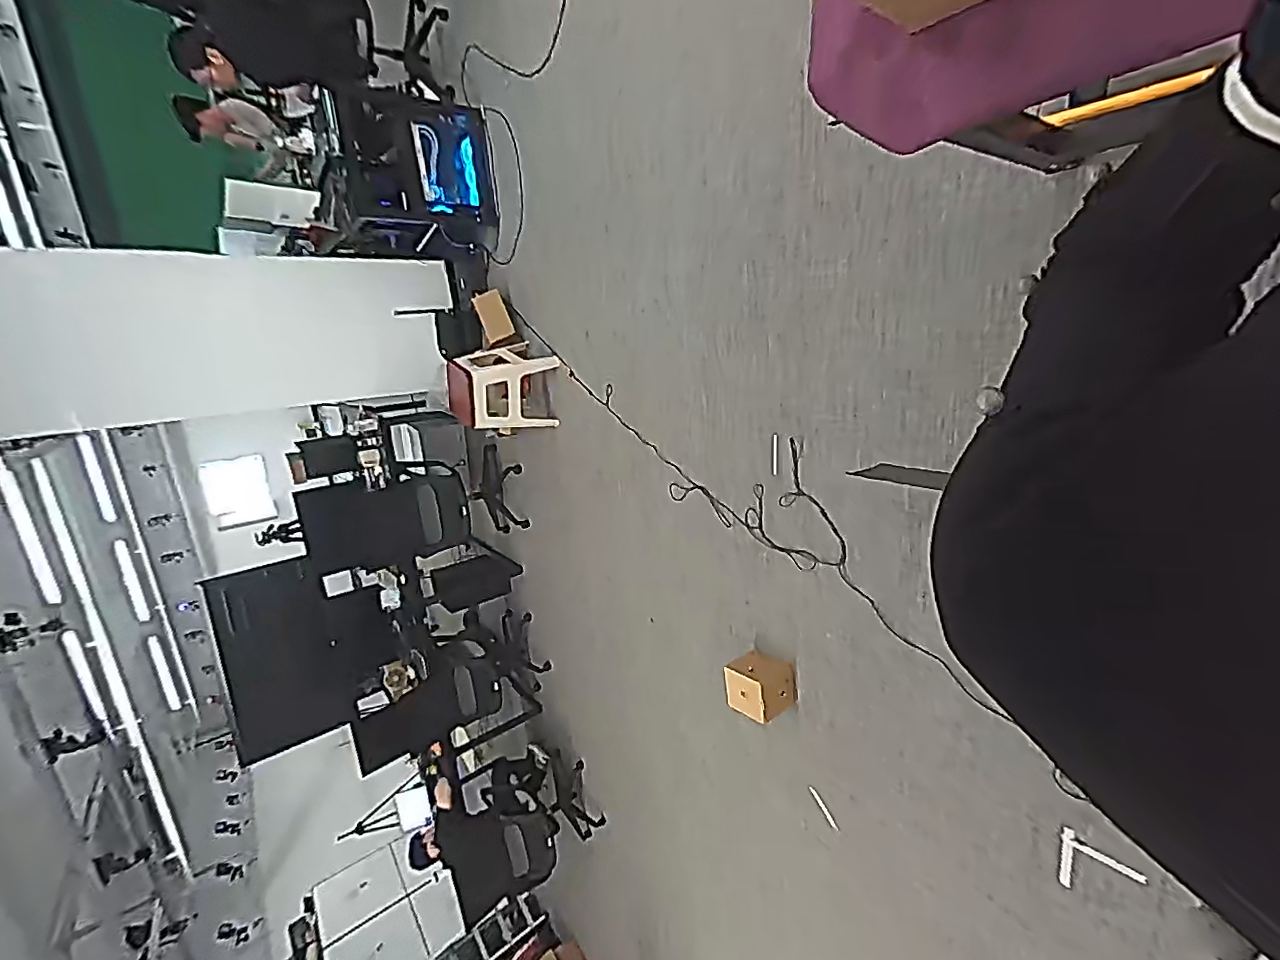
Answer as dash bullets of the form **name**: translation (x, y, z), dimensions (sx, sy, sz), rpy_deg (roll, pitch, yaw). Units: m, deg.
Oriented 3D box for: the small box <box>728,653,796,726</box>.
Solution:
- **small box**: translation (0.448, 0.757, 1.981), dimensions (0.179, 0.176, 0.168), rpy_deg (6, 107, 53)
